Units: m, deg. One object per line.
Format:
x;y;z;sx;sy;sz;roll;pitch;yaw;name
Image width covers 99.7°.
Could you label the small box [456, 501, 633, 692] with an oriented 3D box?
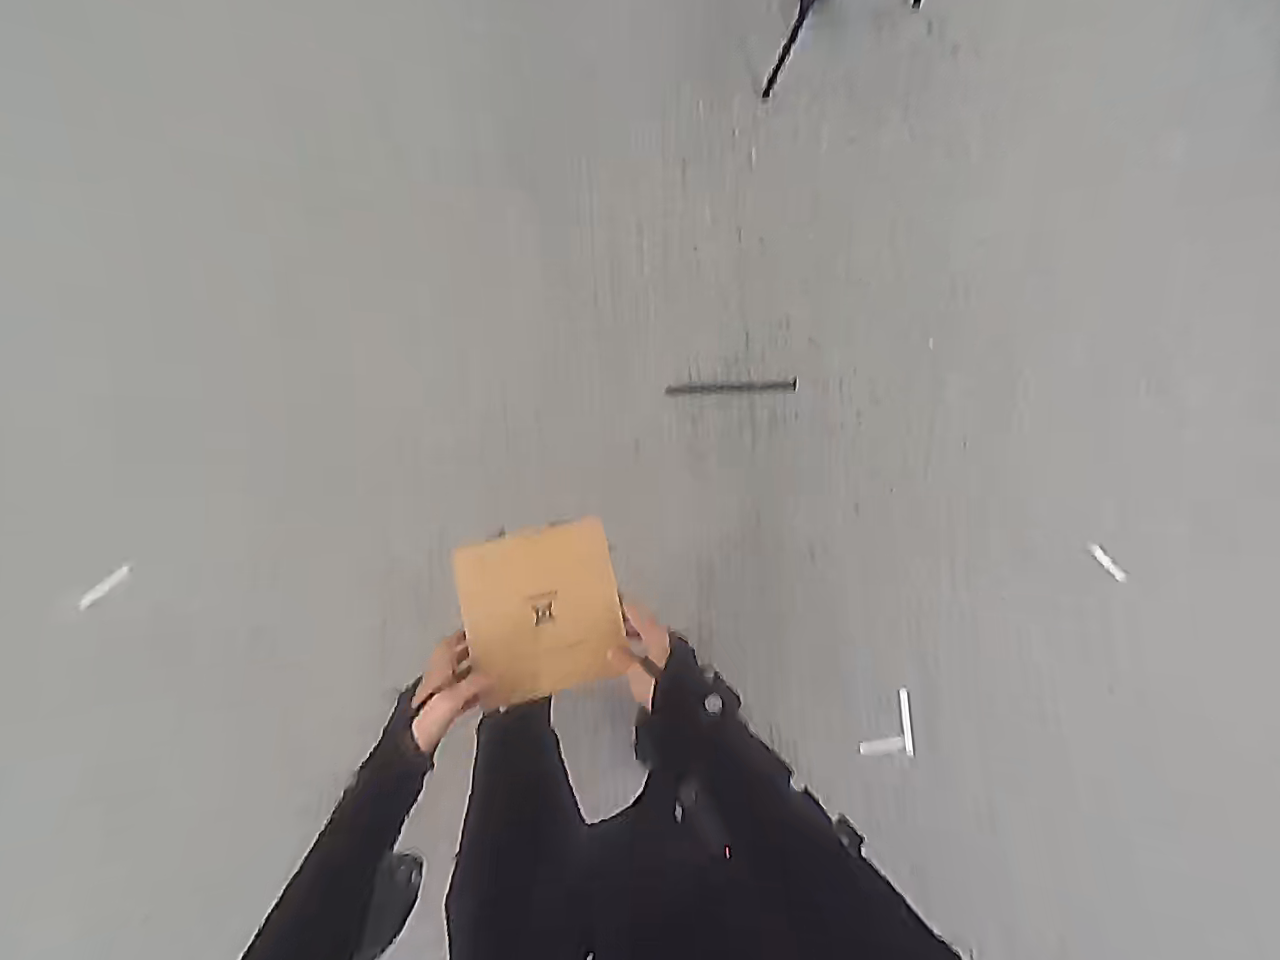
-0.114;0.131;0.658;0.168;0.176;0.179;-11;86;-9;small box
